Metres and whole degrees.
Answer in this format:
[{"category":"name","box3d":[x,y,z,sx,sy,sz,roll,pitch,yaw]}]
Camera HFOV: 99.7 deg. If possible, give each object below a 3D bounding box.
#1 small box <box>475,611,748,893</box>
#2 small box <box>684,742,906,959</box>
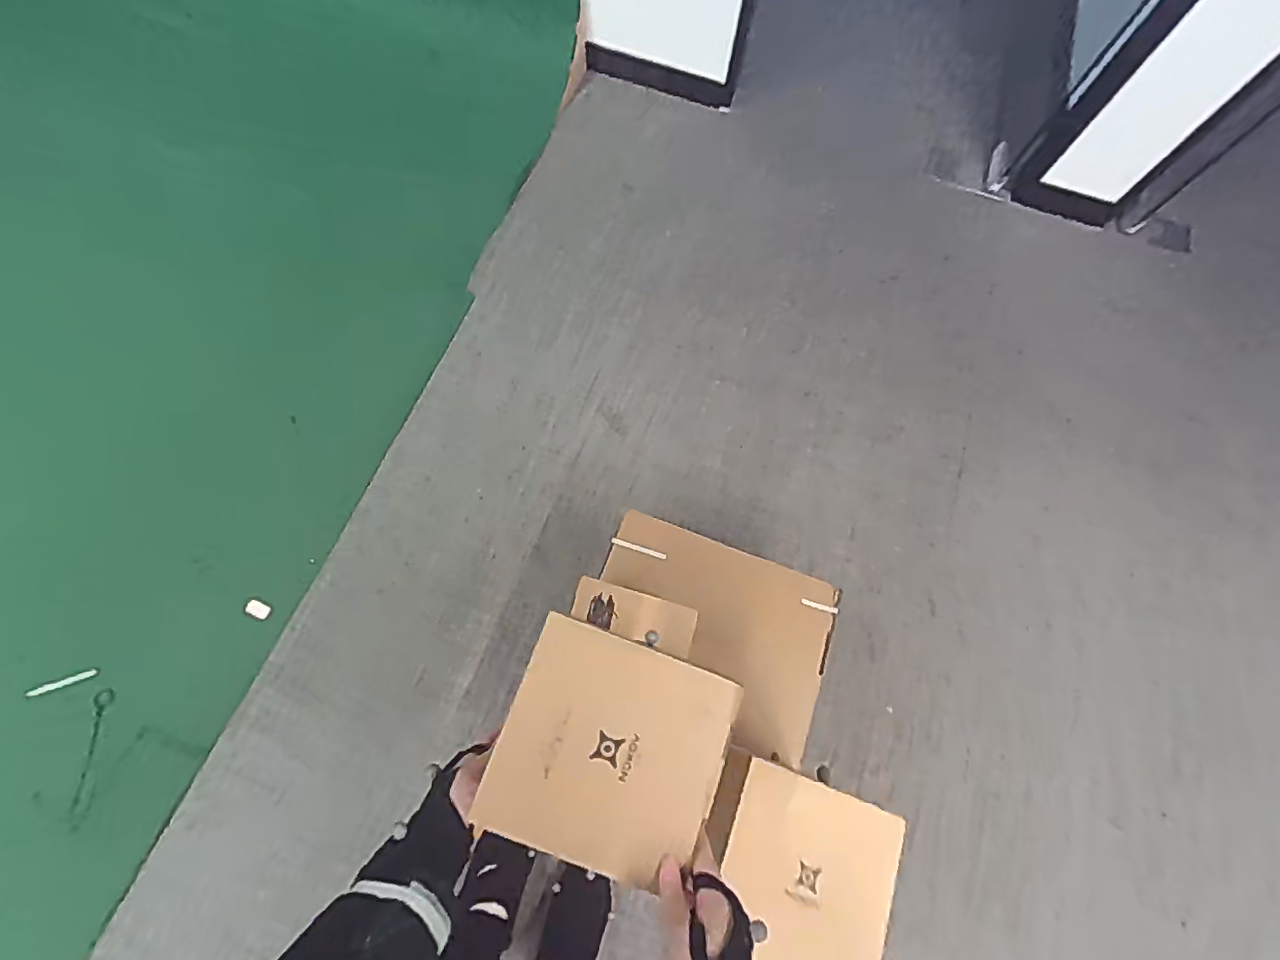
[{"category":"small box","box3d":[-0.024,0.231,0.510,0.179,0.176,0.168,22,74,1]},{"category":"small box","box3d":[0.152,0.407,0.585,0.168,0.176,0.179,21,71,3]}]
